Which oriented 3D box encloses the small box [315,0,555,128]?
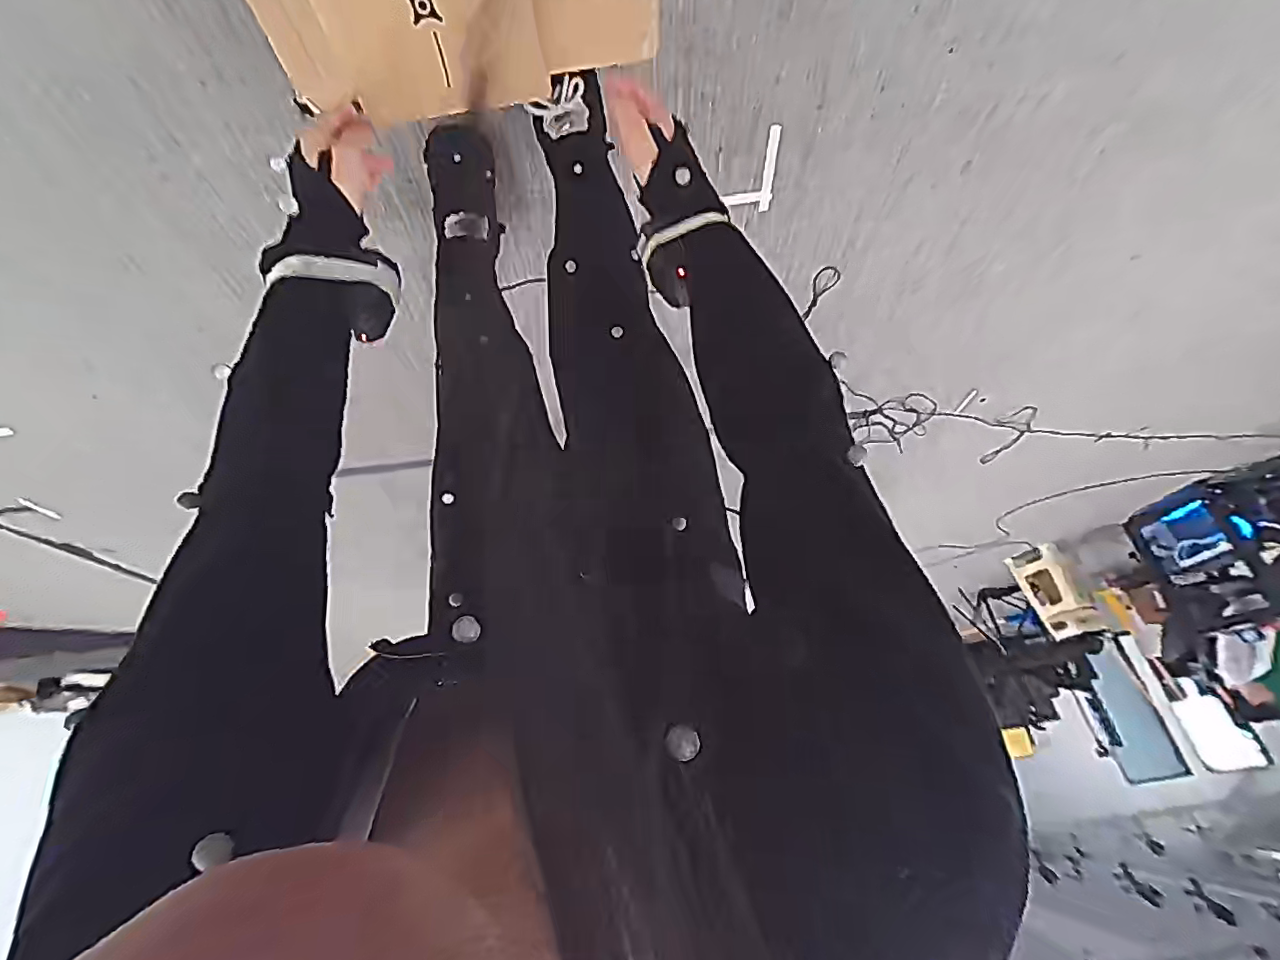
[{"bbox_3d":[-0.172,-0.436,0.446,0.168,0.176,0.179,-9,152,0],"label":"small box"}]

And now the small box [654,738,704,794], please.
[{"bbox_3d":[0.151,1.090,2.068,0.168,0.176,0.179,-9,153,3],"label":"small box"}]

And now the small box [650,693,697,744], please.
[{"bbox_3d":[0.132,0.951,2.152,0.168,0.176,0.179,-8,152,1],"label":"small box"}]
